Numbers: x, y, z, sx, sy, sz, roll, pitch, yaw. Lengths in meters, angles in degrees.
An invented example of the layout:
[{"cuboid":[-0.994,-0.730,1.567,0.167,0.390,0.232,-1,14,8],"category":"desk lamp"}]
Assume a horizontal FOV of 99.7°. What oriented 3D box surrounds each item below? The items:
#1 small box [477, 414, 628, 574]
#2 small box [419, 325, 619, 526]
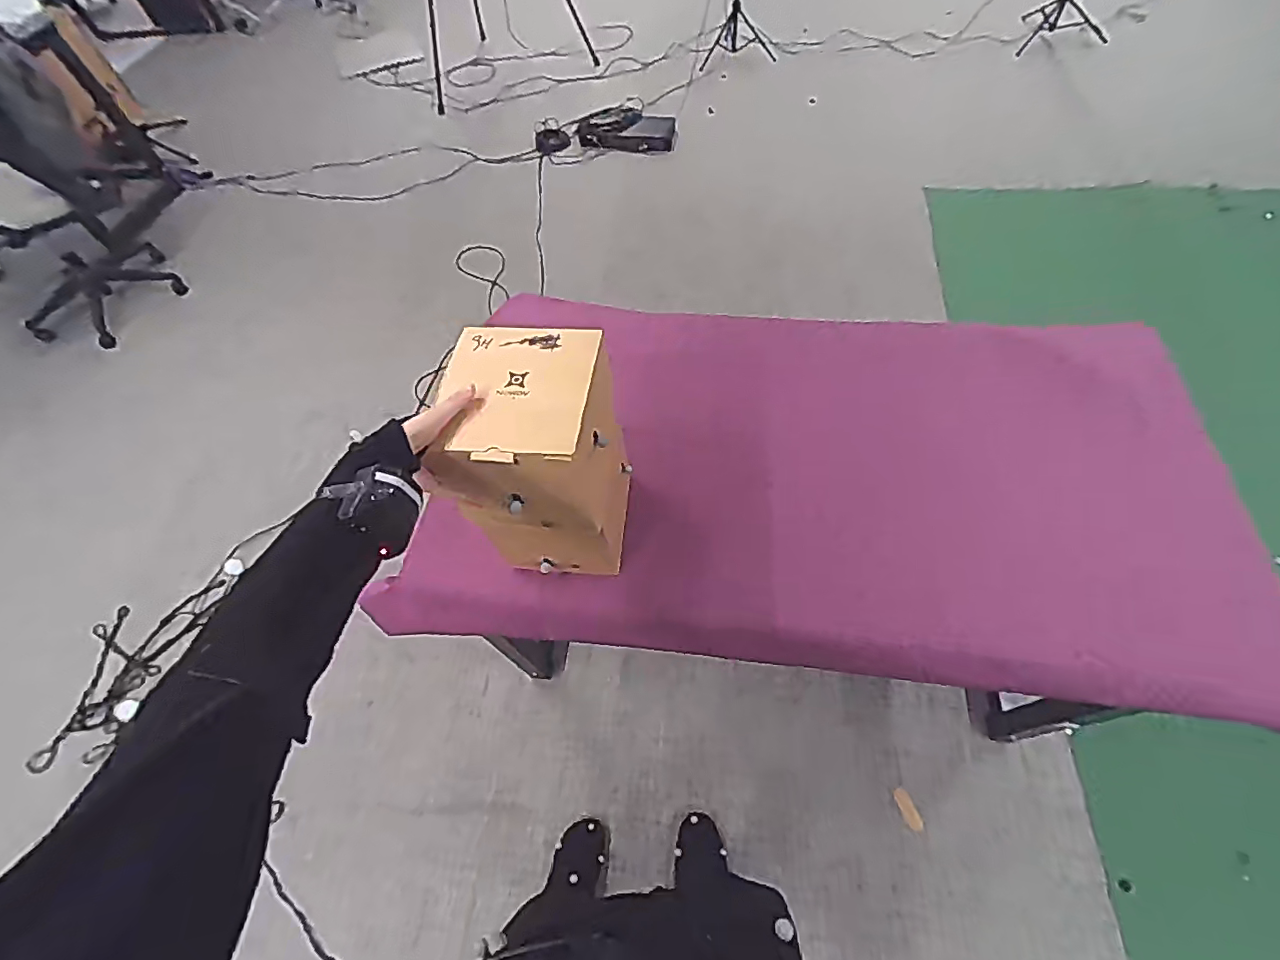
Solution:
[{"cuboid":[-0.111,0.019,0.780,0.168,0.176,0.179,2,59,7],"category":"small box"},{"cuboid":[-0.123,-0.058,0.636,0.168,0.176,0.179,4,59,8],"category":"small box"}]
